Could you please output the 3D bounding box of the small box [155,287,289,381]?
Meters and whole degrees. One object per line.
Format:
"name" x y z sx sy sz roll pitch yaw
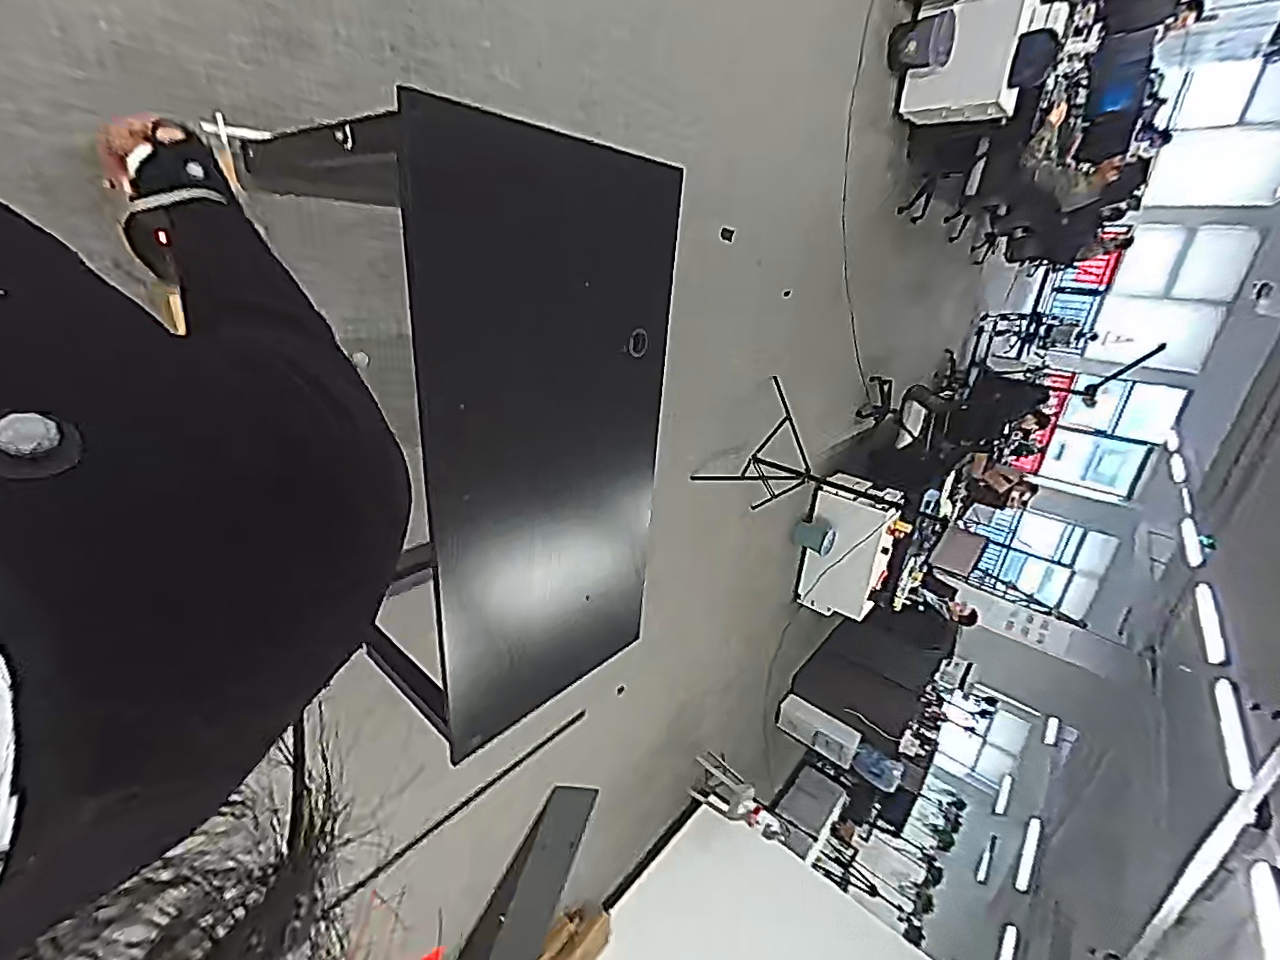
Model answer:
"small box" -0.886 -0.318 1.151 0.179 0.176 0.168 -21 123 -44
